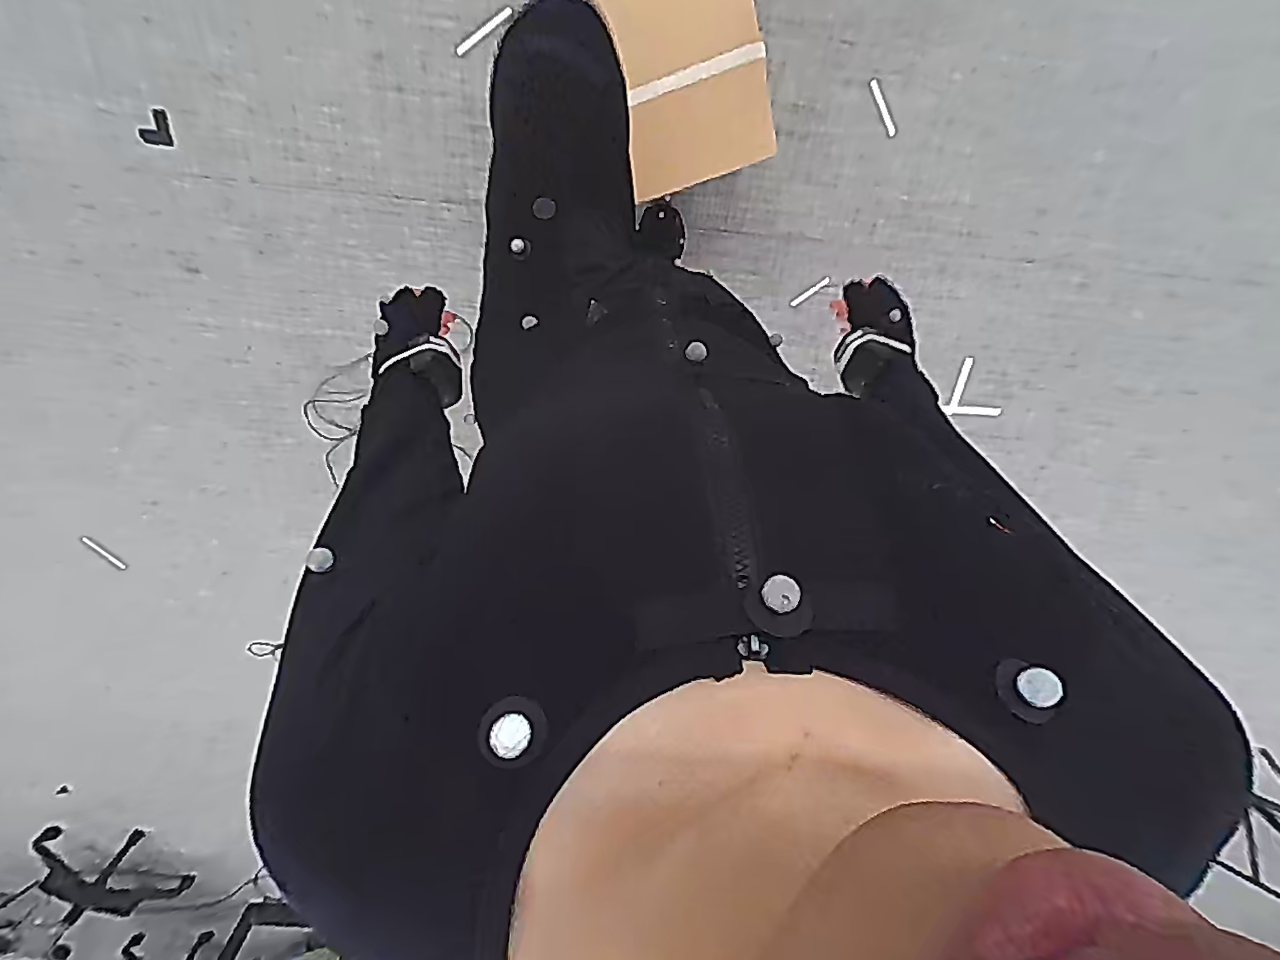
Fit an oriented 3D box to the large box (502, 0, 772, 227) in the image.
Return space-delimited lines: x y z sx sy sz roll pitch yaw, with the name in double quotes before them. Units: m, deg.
"large box" 0.004 -0.734 1.056 0.408 0.320 0.320 -16 117 8
